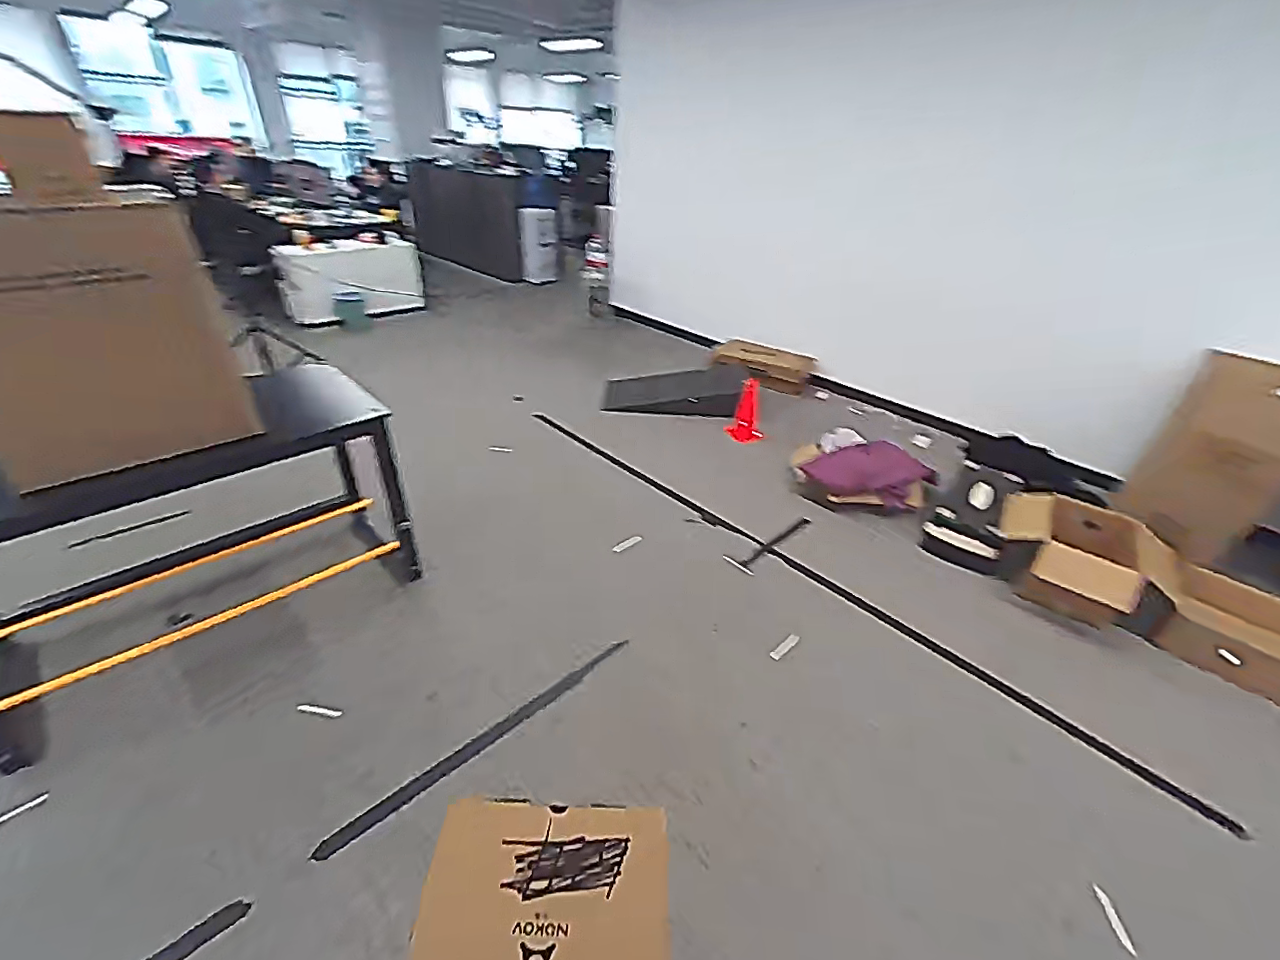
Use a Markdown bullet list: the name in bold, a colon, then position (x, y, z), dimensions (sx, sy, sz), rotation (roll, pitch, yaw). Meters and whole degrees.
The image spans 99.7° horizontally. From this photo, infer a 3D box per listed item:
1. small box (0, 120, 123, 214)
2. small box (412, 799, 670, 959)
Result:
- **small box**: position (-1.298, -0.692, 1.197), dimensions (0.179, 0.176, 0.168), rotation (30, 43, 35)
- **small box**: position (-0.066, 0.364, 0.394), dimensions (0.168, 0.176, 0.179), rotation (1, 36, -1)
